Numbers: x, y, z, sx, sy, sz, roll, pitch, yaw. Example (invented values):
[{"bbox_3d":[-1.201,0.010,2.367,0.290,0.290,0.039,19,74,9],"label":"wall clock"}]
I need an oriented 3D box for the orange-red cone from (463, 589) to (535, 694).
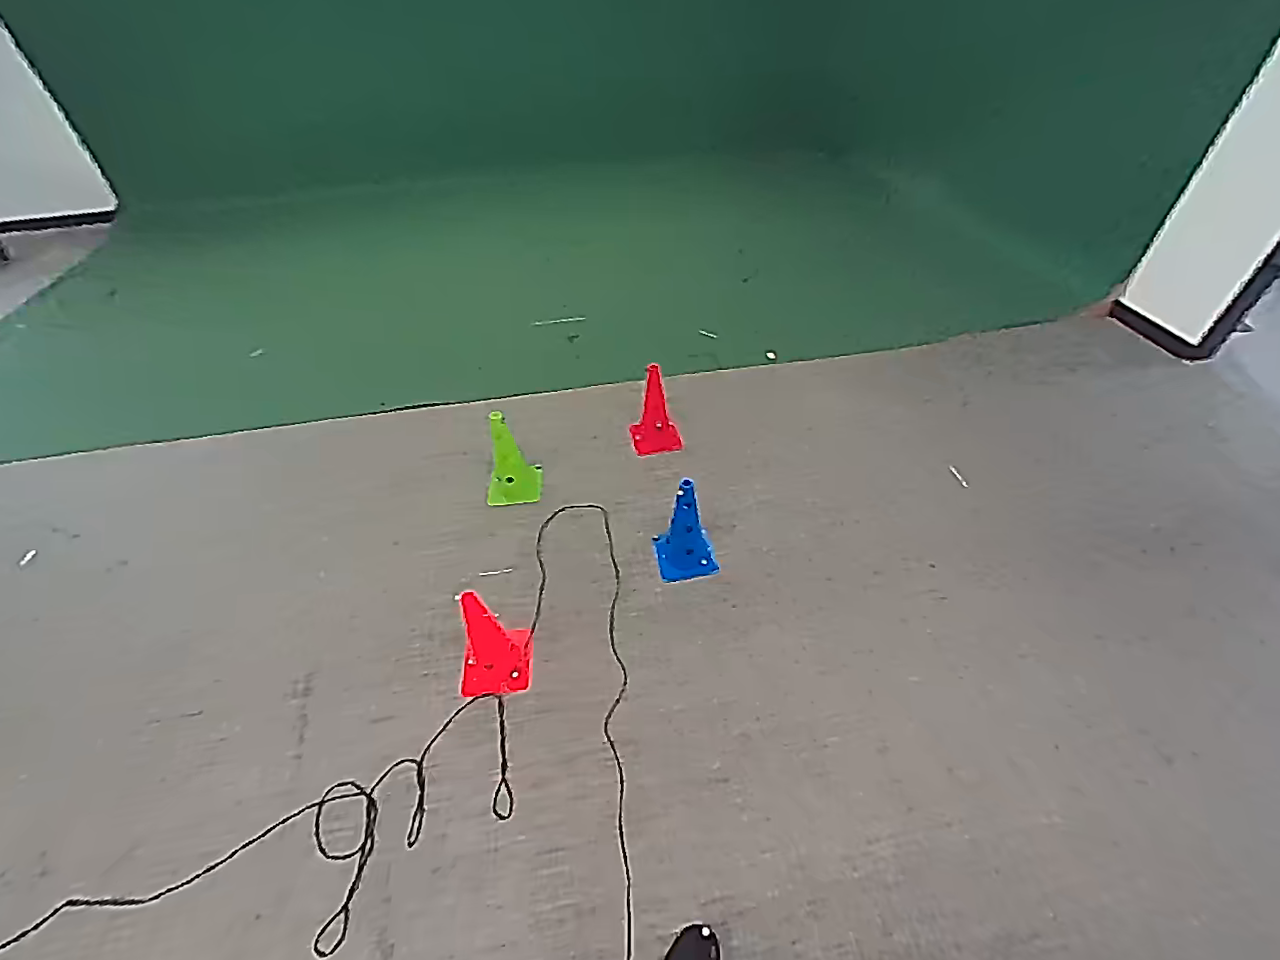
[{"bbox_3d":[-0.420,0.414,1.487,0.198,0.360,0.199,-4,44,-2],"label":"orange-red cone"}]

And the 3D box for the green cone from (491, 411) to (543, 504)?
[{"bbox_3d":[-0.489,-0.105,1.998,0.200,0.368,0.202,-6,46,-3],"label":"green cone"}]
